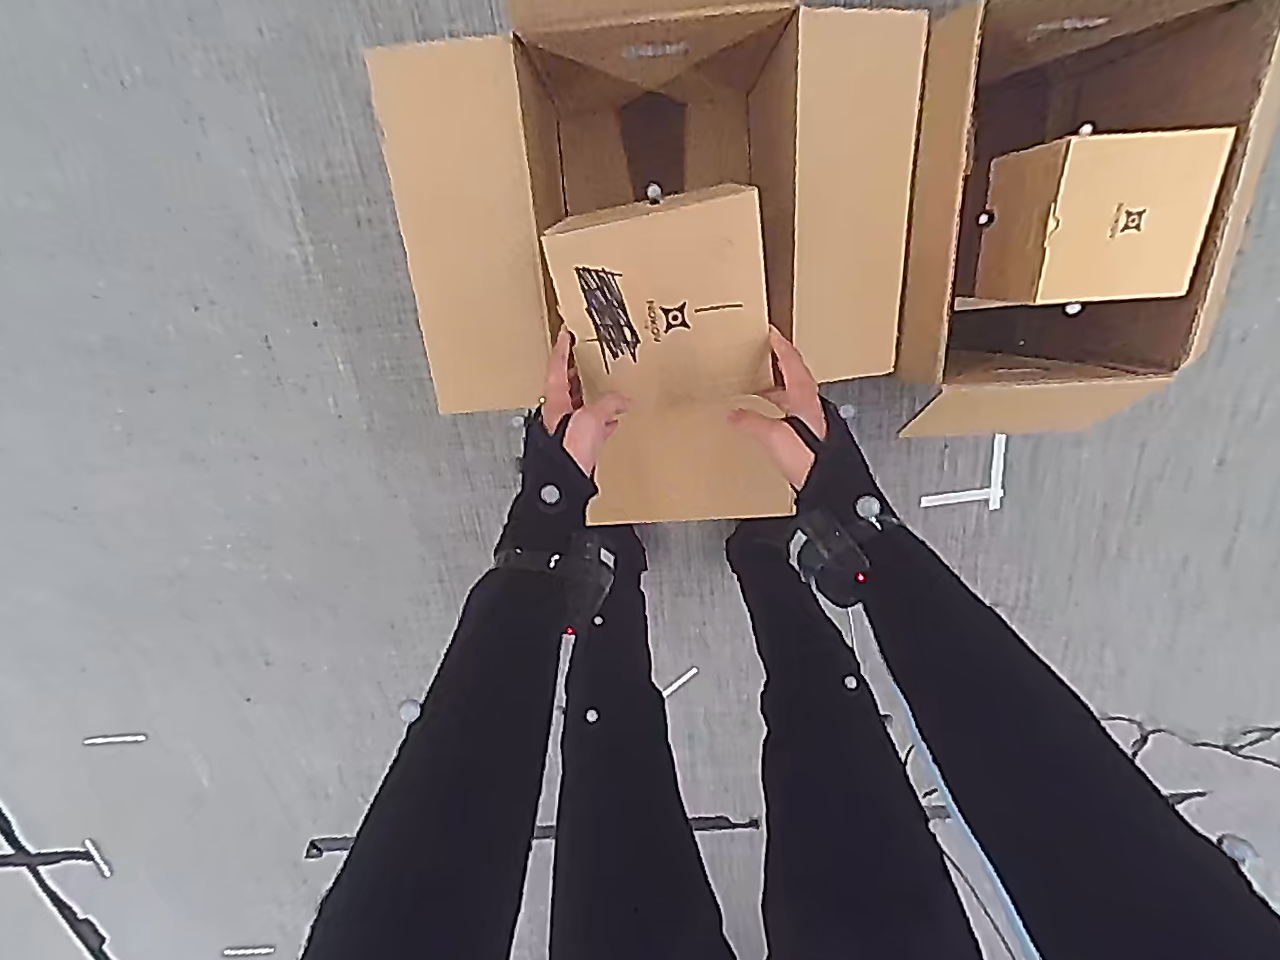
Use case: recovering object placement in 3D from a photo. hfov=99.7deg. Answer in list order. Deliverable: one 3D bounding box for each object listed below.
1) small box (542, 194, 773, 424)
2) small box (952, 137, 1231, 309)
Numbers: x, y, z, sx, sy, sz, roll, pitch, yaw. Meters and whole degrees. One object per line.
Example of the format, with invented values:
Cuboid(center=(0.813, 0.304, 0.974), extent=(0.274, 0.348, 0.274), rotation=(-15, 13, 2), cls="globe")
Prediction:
Cuboid(center=(0.022, -0.172, 0.526), extent=(0.179, 0.176, 0.168), rotation=(-9, 119, 5), cls="small box")
Cuboid(center=(0.522, -0.305, 0.658), extent=(0.179, 0.176, 0.168), rotation=(-3, 112, 1), cls="small box")
